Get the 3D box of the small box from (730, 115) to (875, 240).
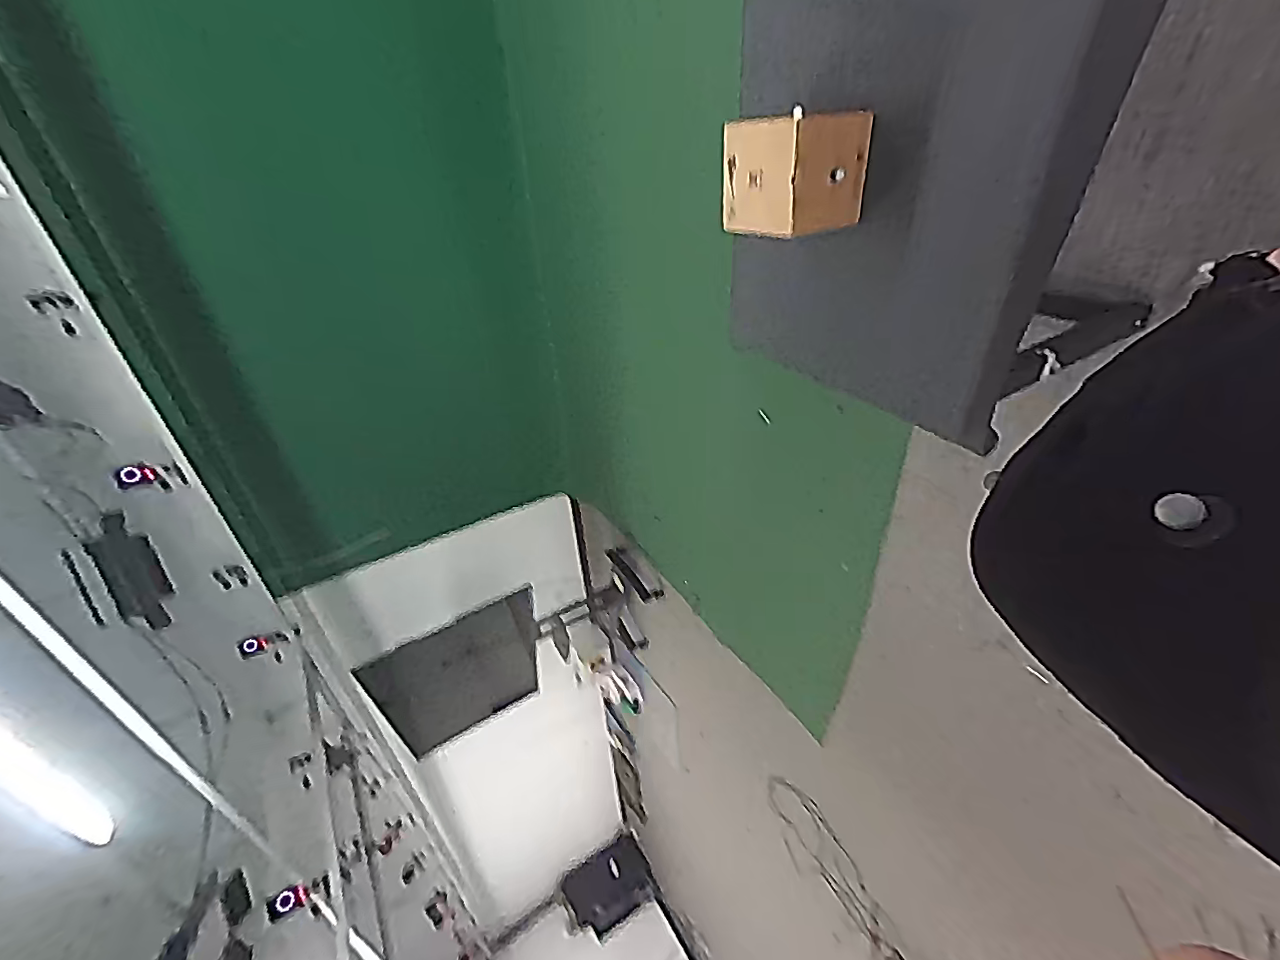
[{"bbox_3d":[0.280,-0.524,0.942,0.179,0.176,0.168,36,141,50],"label":"small box"}]
